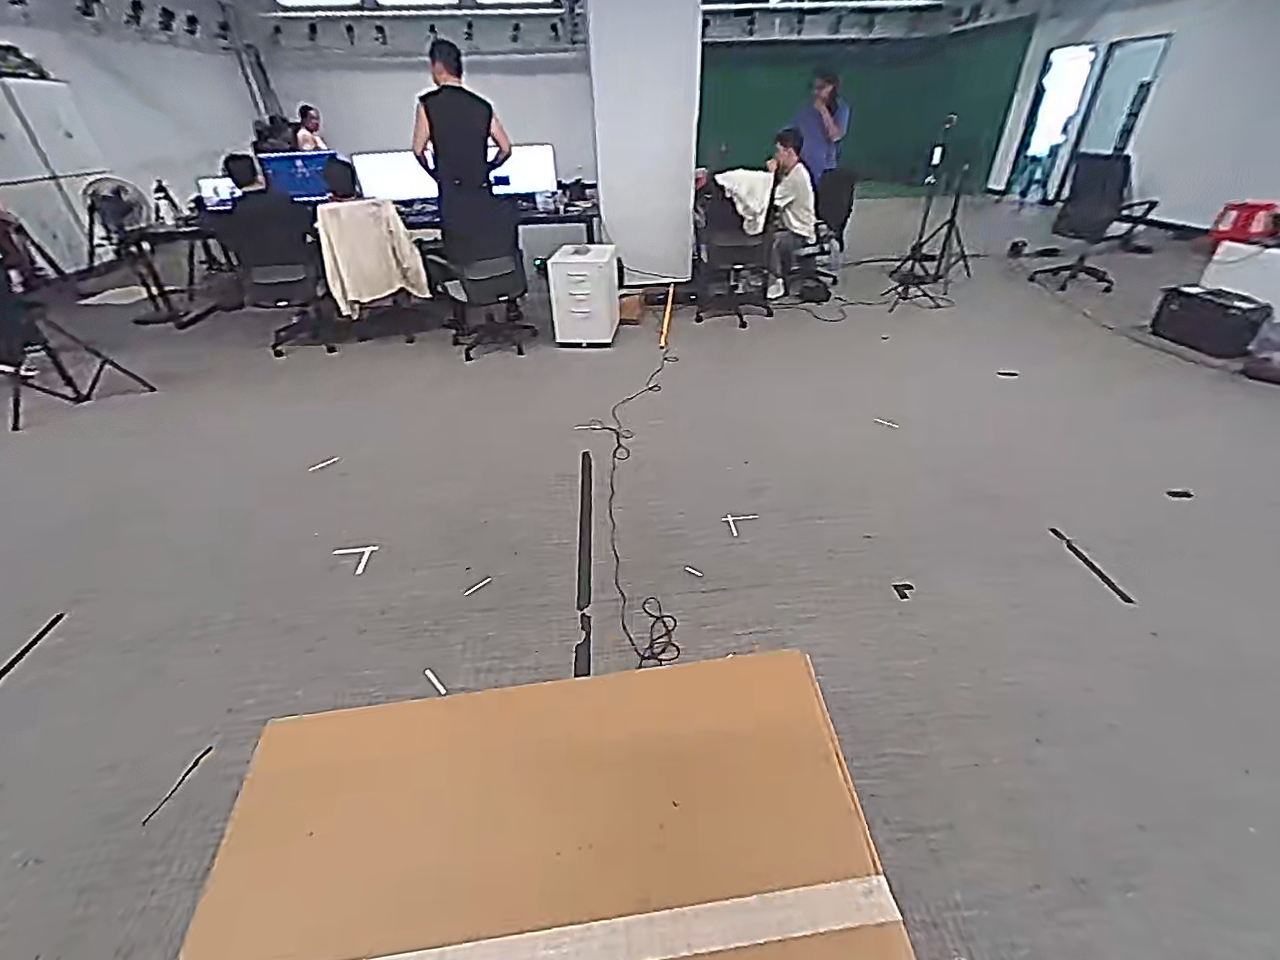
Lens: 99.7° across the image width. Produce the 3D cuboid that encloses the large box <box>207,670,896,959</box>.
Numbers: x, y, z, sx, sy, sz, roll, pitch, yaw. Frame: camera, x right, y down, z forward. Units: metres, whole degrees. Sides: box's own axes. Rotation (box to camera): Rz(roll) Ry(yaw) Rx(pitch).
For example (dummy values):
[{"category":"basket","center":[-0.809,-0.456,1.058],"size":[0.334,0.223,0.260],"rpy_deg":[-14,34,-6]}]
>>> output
[{"category":"large box","center":[-0.044,0.382,0.411],"size":[0.408,0.320,0.320],"rpy_deg":[-7,44,-2]}]
